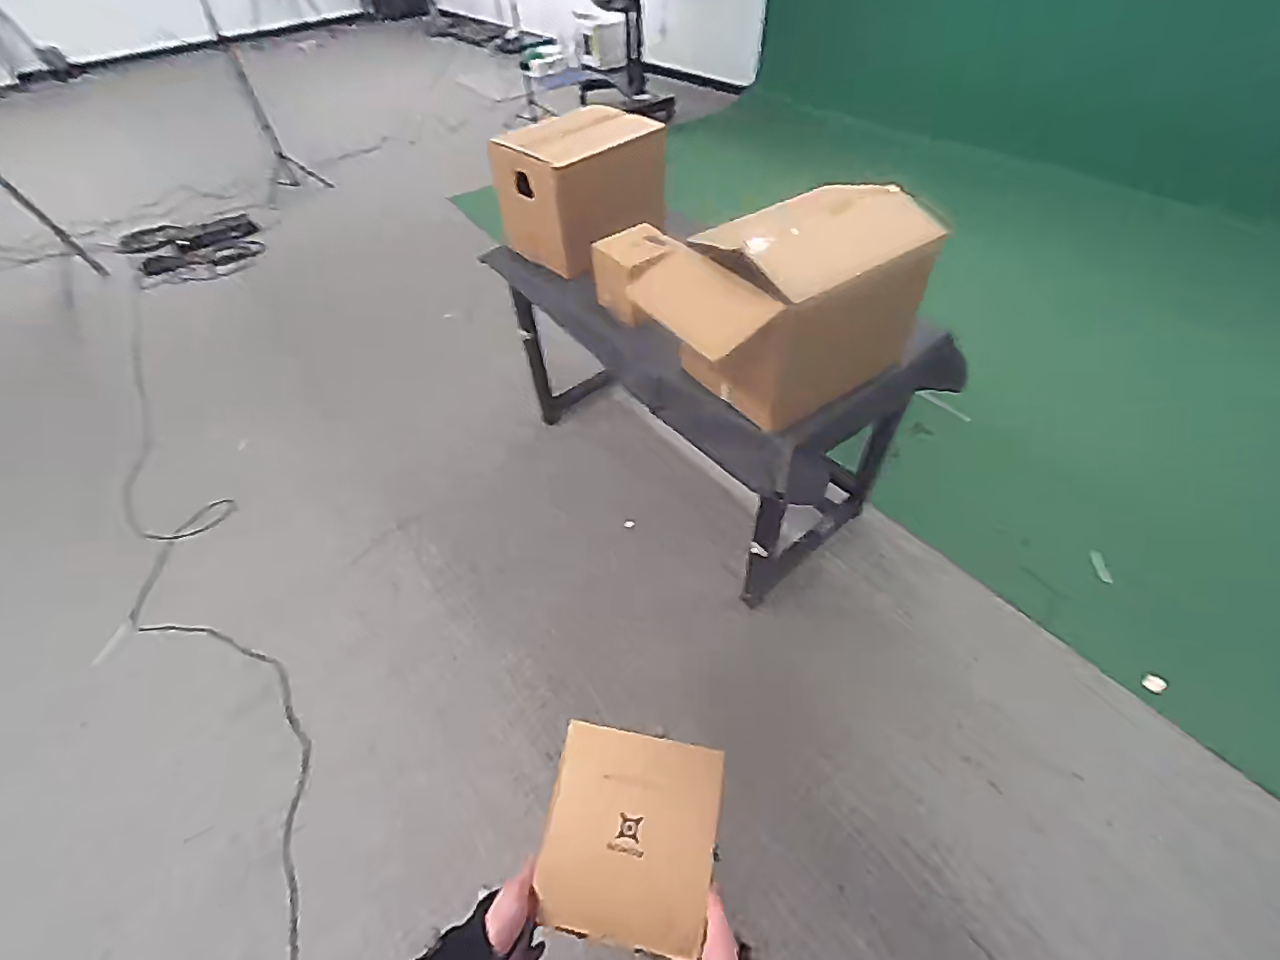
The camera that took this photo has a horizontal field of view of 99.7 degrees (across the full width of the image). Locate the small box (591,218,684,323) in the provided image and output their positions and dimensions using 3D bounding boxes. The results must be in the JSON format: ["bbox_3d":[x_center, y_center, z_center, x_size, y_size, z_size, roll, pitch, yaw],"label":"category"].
[{"bbox_3d":[-0.005,-0.536,1.389,0.179,0.176,0.168,-31,55,-20],"label":"small box"}]
